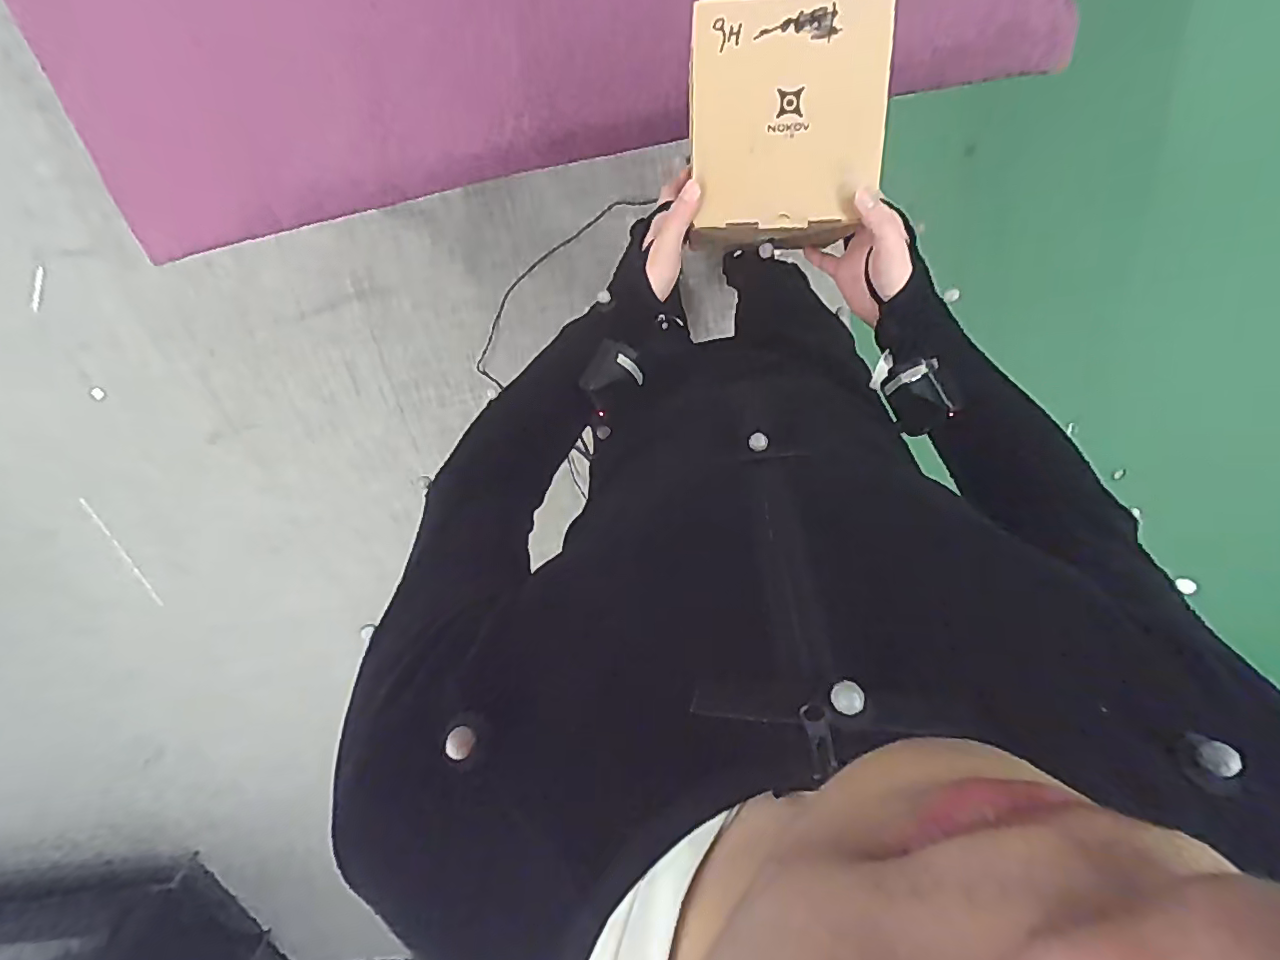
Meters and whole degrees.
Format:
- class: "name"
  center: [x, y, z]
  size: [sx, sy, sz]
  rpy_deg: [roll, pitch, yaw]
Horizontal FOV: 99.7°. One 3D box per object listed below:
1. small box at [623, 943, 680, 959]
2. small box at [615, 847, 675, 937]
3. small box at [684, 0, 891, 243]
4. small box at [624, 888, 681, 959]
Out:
- class: "small box"
  center: [0.038, 1.497, 1.580]
  size: [0.168, 0.176, 0.179]
  rpy_deg: [-7, 114, 5]
- class: "small box"
  center: [0.017, 1.233, 1.624]
  size: [0.168, 0.176, 0.179]
  rpy_deg: [-3, 118, 4]
- class: "small box"
  center: [0.130, -0.339, 0.542]
  size: [0.168, 0.176, 0.179]
  rpy_deg: [0, 107, 5]
- class: "small box"
  center: [0.046, 1.440, 1.735]
  size: [0.168, 0.176, 0.179]
  rpy_deg: [-5, 114, 5]
